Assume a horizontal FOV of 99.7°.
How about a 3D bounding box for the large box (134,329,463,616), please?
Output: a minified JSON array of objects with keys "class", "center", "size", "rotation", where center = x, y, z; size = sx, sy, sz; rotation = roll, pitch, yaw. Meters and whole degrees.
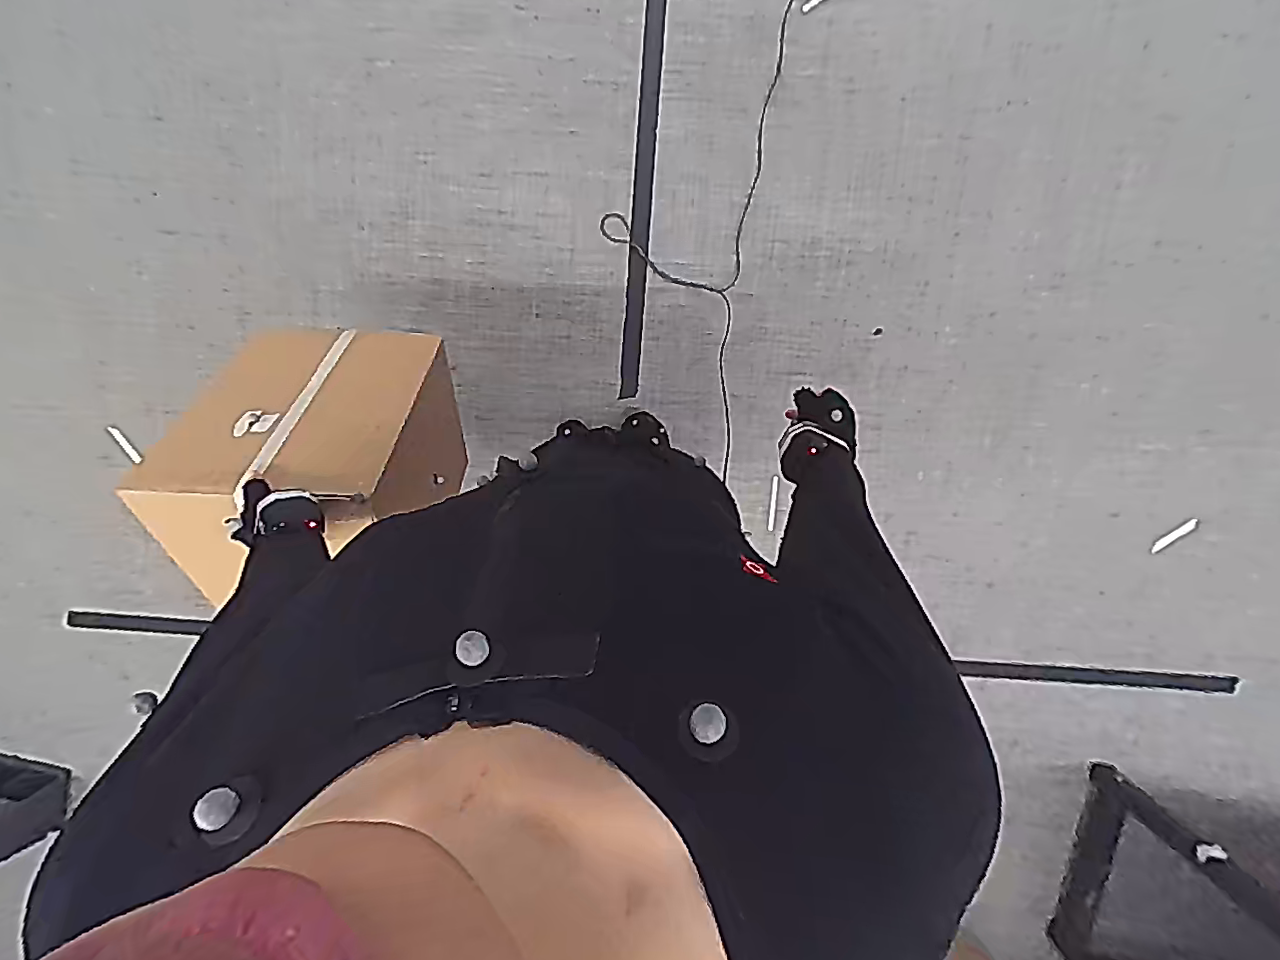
[{"class":"large box","center":[-0.522,-0.019,0.951],"size":[0.320,0.408,0.320],"rotation":[2,136,-3]}]
